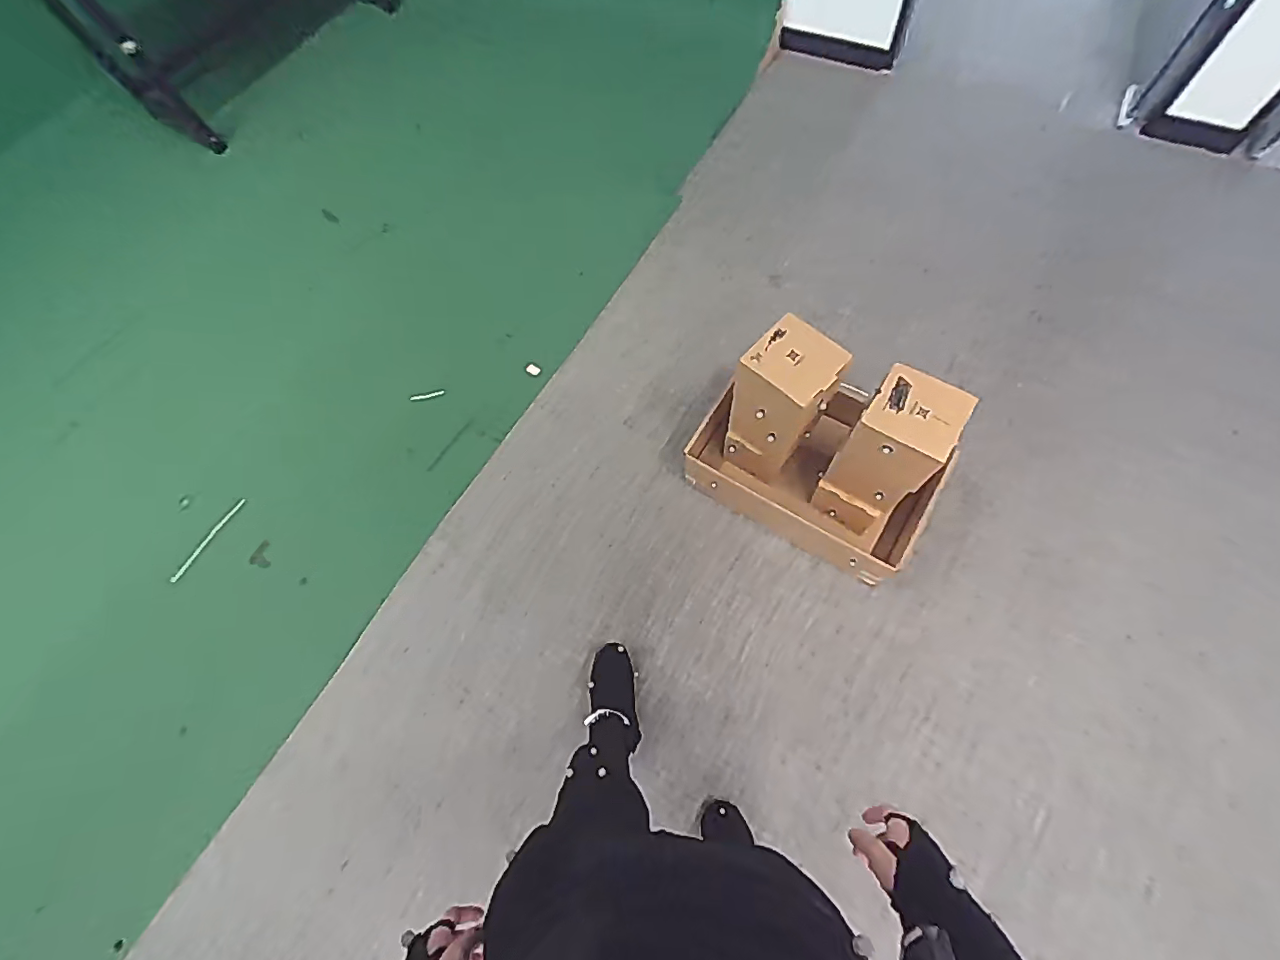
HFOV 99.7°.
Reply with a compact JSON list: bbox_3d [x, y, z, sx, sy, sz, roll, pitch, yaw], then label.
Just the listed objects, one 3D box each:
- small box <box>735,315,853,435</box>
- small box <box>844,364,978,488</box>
[{"bbox_3d":[0.334,-0.223,1.209,0.179,0.176,0.168,42,78,16],"label":"small box"},{"bbox_3d":[0.559,-0.106,1.140,0.179,0.176,0.168,31,75,17],"label":"small box"}]
